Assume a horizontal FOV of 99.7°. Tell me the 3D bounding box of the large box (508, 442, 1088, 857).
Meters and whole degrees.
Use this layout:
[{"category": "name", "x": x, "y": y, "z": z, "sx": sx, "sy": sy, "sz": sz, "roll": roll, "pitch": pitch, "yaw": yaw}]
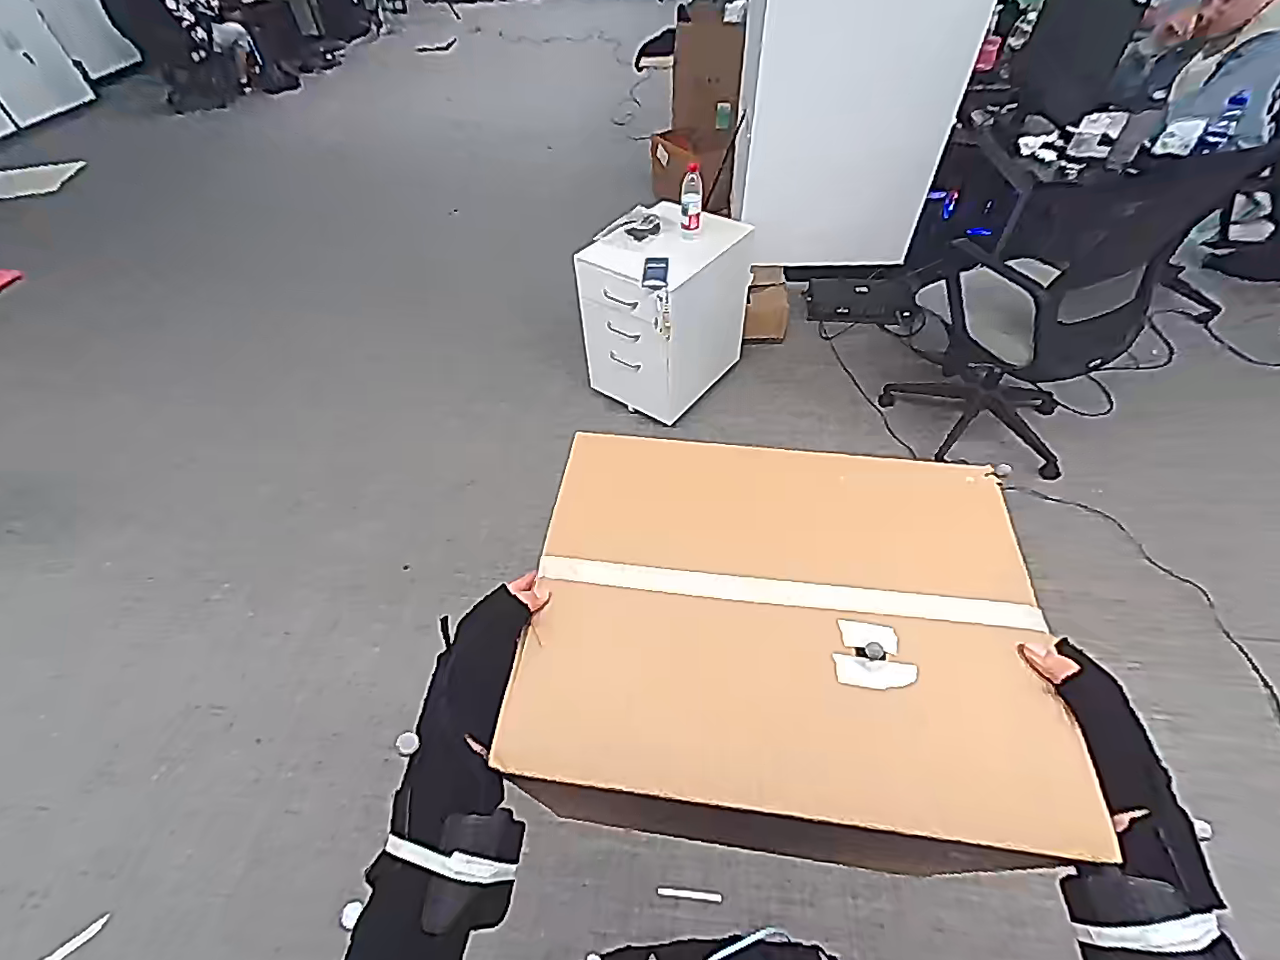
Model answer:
[{"category": "large box", "x": 0.118, "y": 0.185, "z": 0.576, "sx": 0.408, "sy": 0.320, "sz": 0.320, "roll": 5, "pitch": 54, "yaw": 5}]
